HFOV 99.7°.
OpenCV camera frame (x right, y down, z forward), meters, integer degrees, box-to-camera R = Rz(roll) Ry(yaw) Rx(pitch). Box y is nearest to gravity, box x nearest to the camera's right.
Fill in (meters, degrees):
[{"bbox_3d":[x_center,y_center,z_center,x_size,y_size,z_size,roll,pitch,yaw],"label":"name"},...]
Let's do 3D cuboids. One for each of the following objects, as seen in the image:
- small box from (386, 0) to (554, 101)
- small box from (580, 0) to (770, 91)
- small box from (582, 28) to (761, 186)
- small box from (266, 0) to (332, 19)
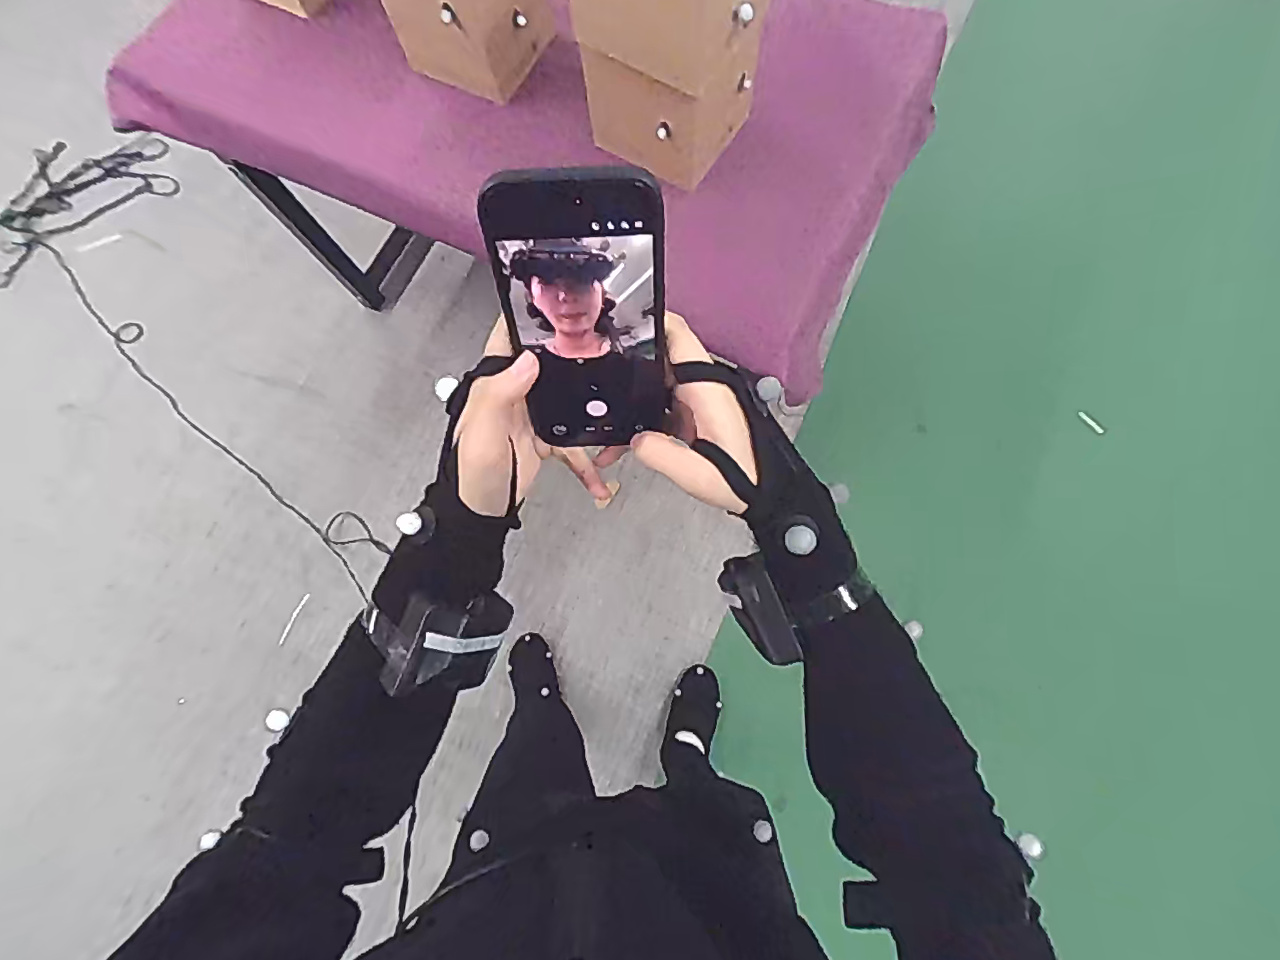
[{"bbox_3d":[-0.248,-0.709,0.797,0.179,0.176,0.168,26,78,9],"label":"small box"},{"bbox_3d":[0.040,-0.571,0.580,0.179,0.176,0.168,32,79,10],"label":"small box"},{"bbox_3d":[0.047,-0.547,0.743,0.179,0.176,0.168,33,79,11],"label":"small box"},{"bbox_3d":[-0.583,-0.898,0.864,0.168,0.176,0.179,27,78,9],"label":"small box"}]
